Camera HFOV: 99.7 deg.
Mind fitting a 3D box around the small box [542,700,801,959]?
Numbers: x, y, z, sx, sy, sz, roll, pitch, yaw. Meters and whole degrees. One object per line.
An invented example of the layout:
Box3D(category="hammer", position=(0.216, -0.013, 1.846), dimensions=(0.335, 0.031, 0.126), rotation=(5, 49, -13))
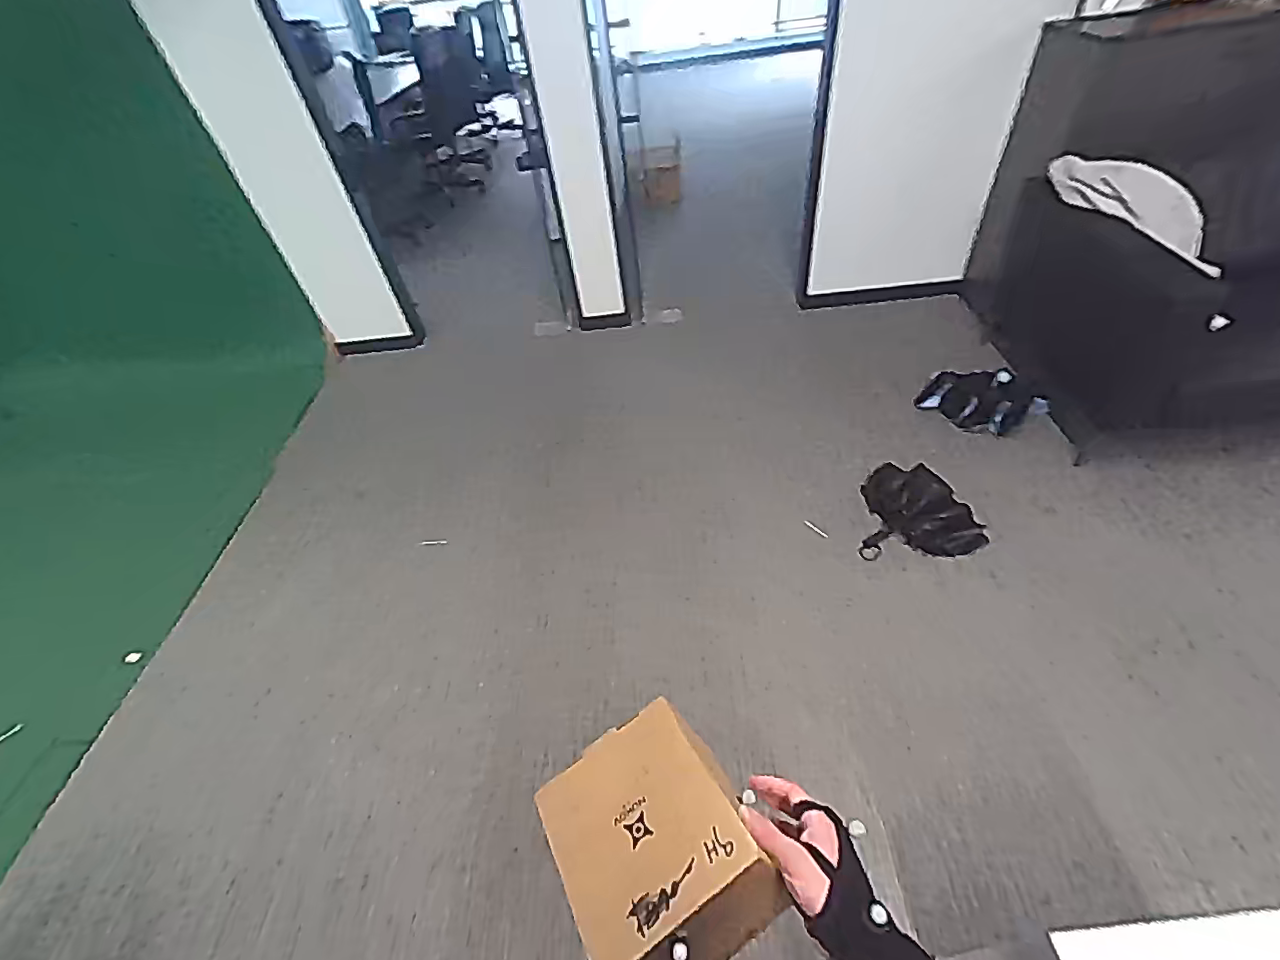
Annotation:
Box3D(category="small box", position=(0.032, 0.370, 0.544), dimensions=(0.168, 0.176, 0.179), rotation=(-36, 38, -8))
